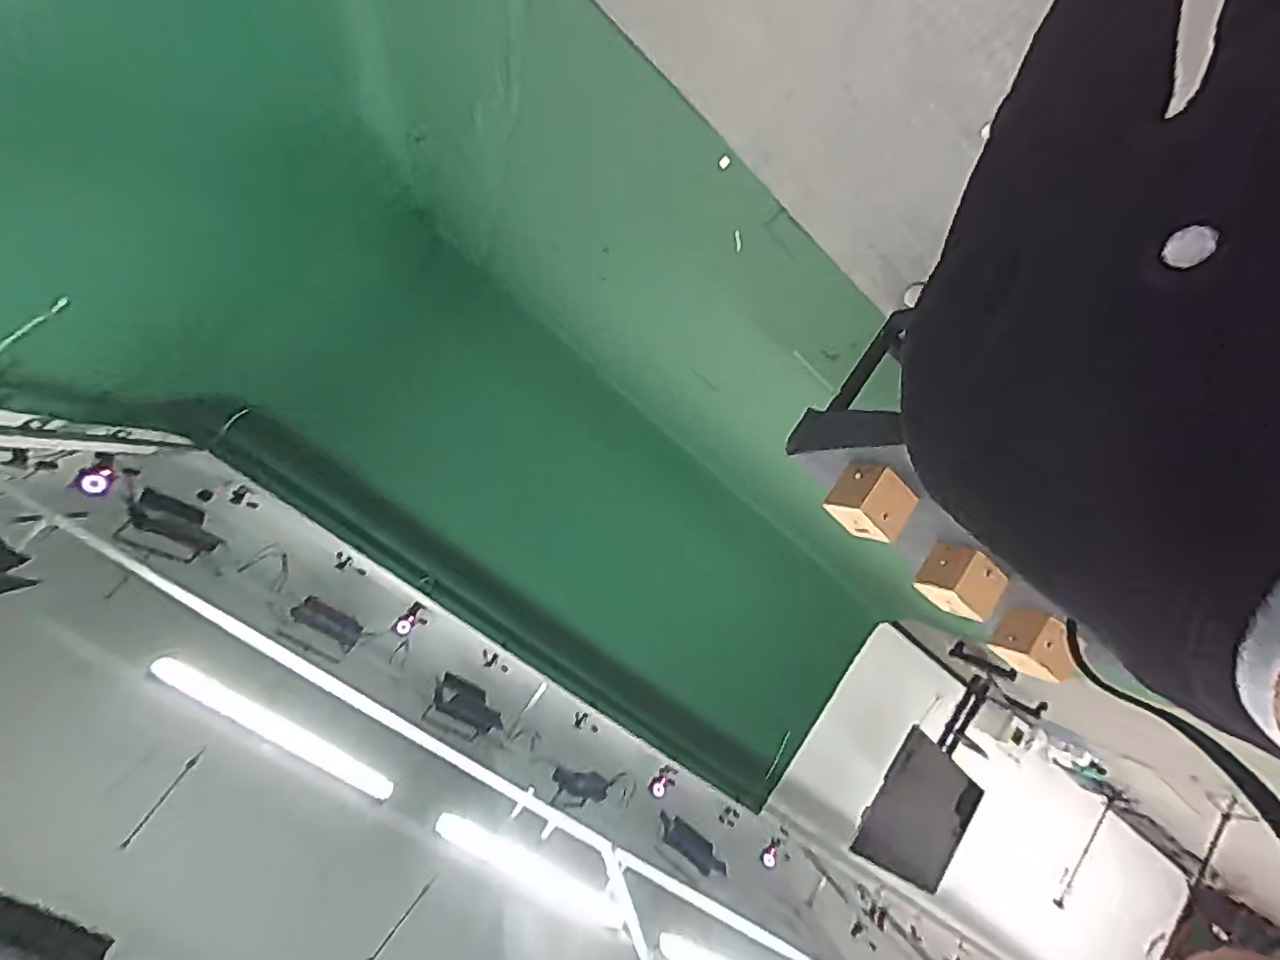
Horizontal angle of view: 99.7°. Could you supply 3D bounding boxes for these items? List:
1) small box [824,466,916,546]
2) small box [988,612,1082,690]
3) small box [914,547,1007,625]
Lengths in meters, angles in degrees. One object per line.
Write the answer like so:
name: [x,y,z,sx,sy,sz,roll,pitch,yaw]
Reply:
small box: [0.727,0.078,1.702,0.179,0.176,0.168,41,169,-19]
small box: [1.345,0.571,1.832,0.168,0.176,0.179,40,172,-4]
small box: [1.058,0.343,1.783,0.179,0.176,0.168,41,170,-15]
